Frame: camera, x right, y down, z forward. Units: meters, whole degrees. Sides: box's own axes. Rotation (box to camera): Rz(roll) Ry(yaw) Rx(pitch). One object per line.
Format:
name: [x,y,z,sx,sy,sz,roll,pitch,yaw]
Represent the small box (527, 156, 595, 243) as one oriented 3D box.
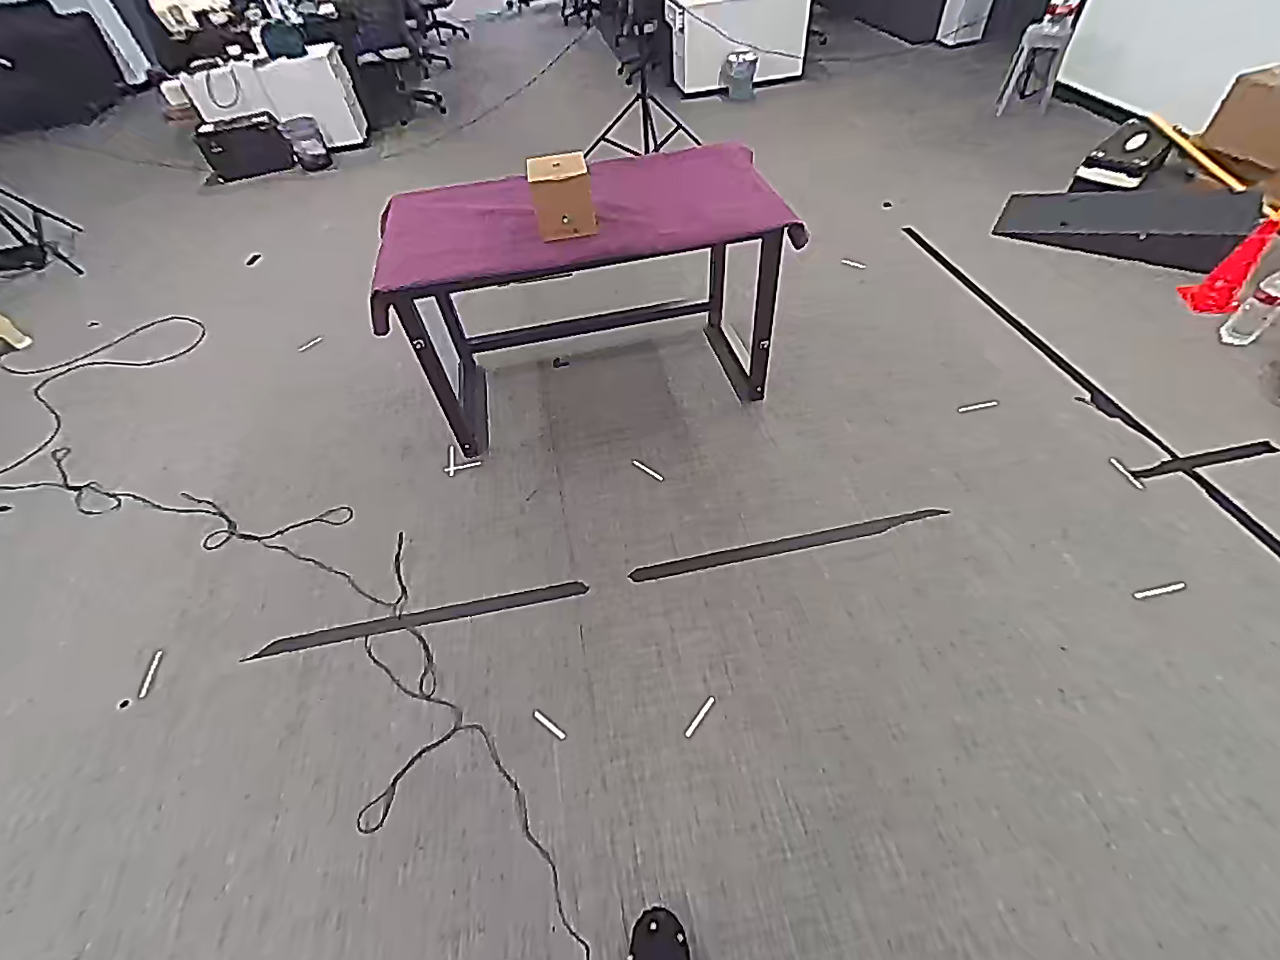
small box: [-0.230,-0.817,1.577,0.168,0.176,0.179,-10,49,-2]
